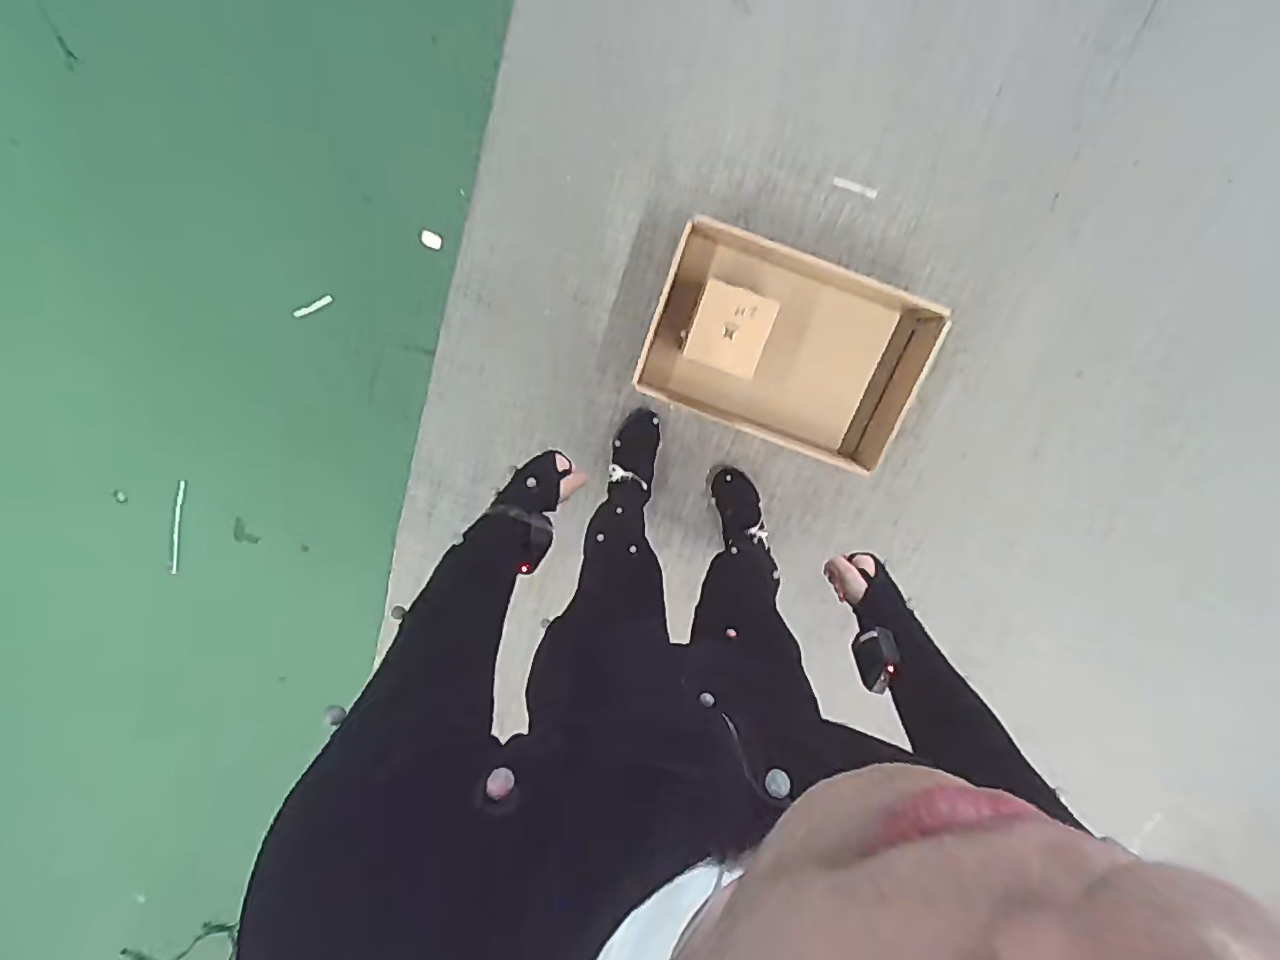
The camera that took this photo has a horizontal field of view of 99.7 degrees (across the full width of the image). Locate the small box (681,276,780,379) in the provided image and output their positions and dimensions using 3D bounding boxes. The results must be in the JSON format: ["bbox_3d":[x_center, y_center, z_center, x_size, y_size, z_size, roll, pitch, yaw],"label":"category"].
[{"bbox_3d":[0.201,-0.349,1.245,0.168,0.176,0.179,19,105,-3],"label":"small box"}]
